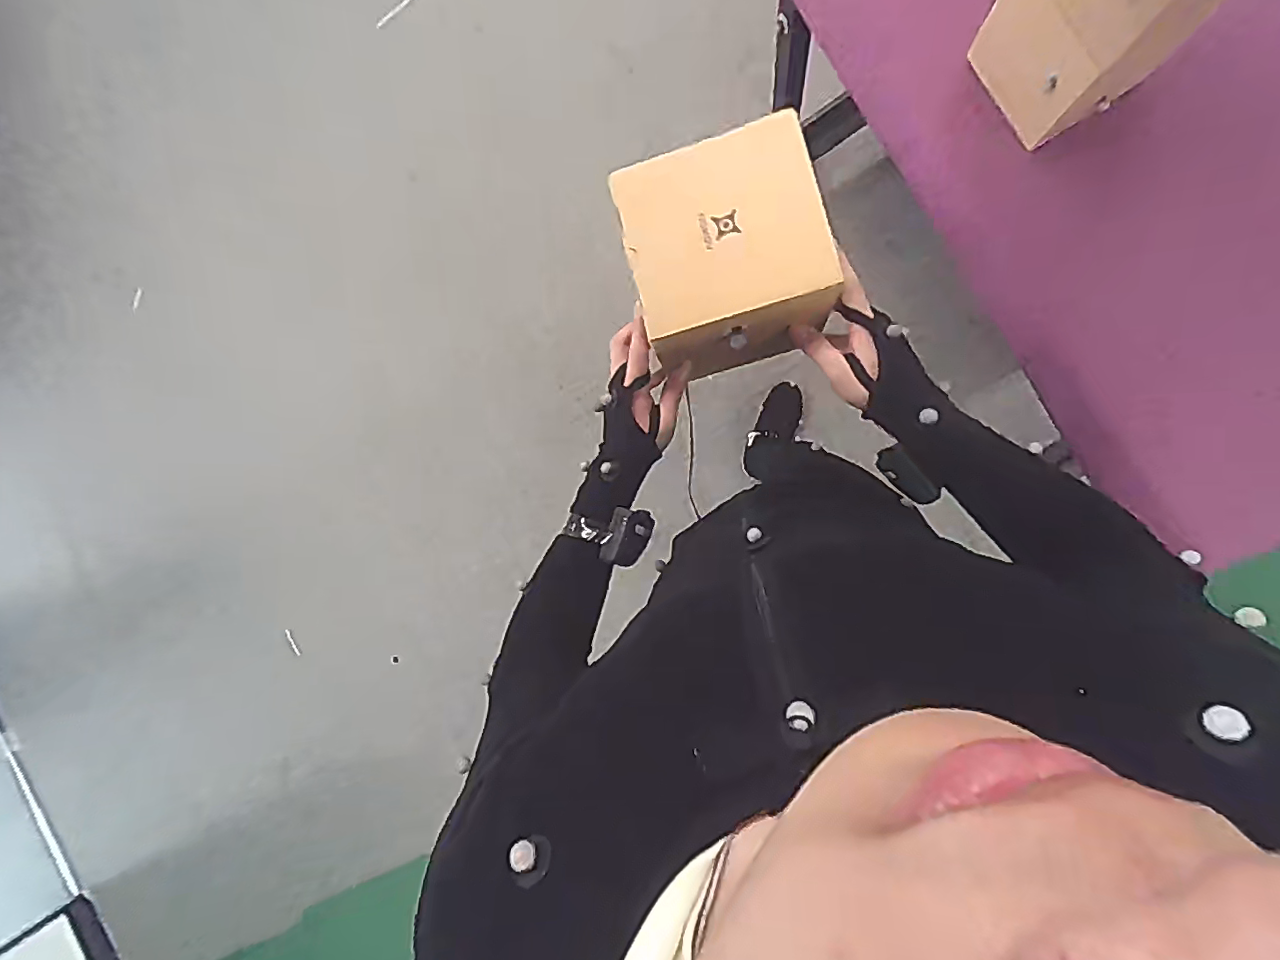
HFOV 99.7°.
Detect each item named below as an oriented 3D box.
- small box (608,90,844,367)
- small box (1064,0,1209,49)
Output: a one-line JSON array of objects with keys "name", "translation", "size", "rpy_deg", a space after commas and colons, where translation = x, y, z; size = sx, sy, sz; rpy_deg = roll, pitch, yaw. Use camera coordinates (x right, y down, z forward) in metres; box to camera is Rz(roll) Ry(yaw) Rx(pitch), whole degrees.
[{"name": "small box", "translation": [0.086, -0.231, 0.547], "size": [0.179, 0.176, 0.168], "rpy_deg": [-15, 84, 11]}, {"name": "small box", "translation": [0.549, -0.584, 0.535], "size": [0.168, 0.176, 0.179], "rpy_deg": [-30, 86, 11]}]
